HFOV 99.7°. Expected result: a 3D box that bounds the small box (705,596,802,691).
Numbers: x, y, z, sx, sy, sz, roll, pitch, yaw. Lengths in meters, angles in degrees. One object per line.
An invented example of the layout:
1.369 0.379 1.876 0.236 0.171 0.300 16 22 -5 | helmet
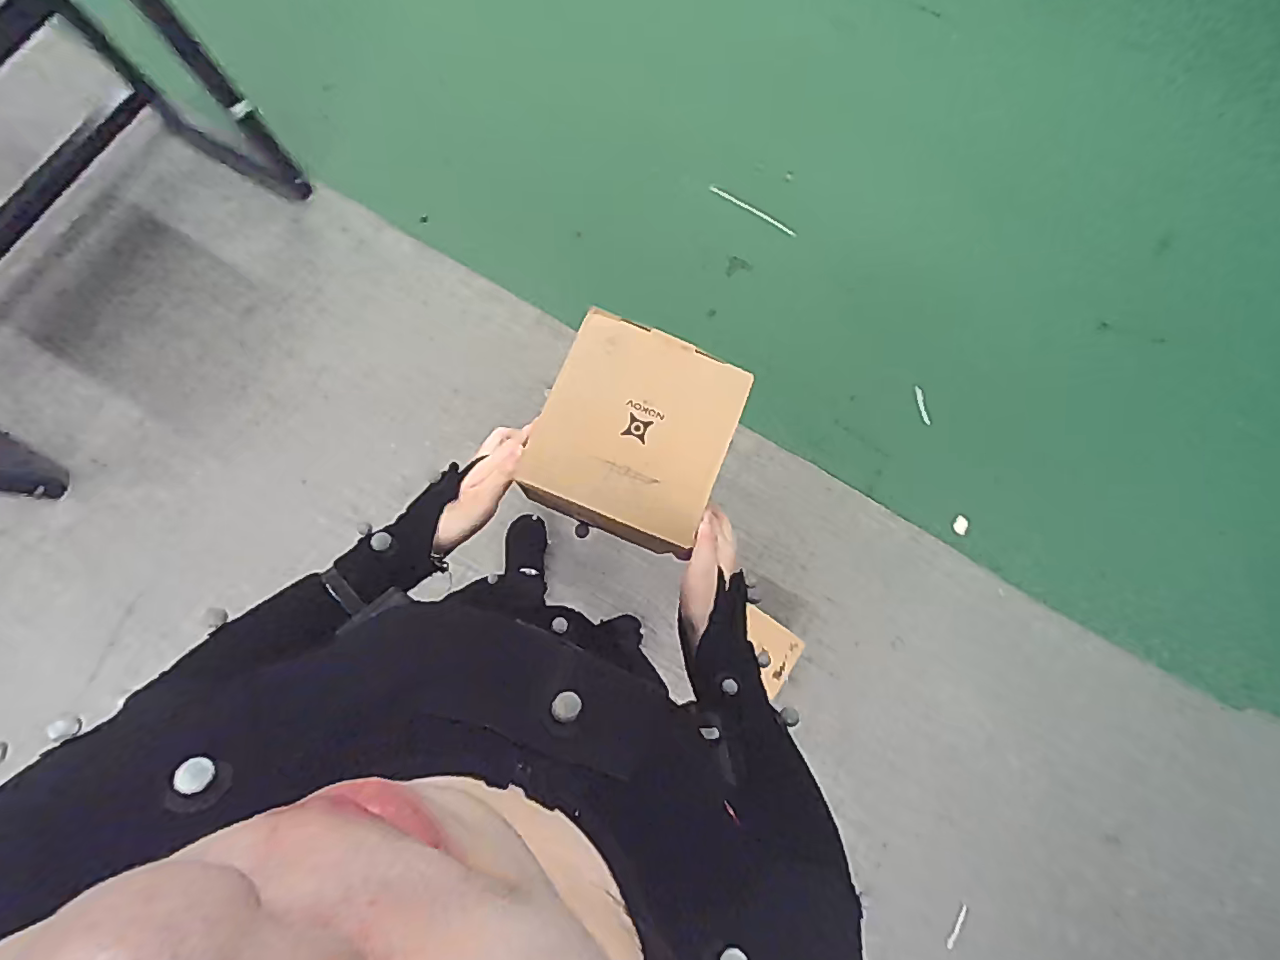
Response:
0.292 0.427 1.438 0.179 0.176 0.168 35 81 5 | small box

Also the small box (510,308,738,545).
-0.020 -0.041 0.570 0.168 0.176 0.179 22 80 -3 | small box
